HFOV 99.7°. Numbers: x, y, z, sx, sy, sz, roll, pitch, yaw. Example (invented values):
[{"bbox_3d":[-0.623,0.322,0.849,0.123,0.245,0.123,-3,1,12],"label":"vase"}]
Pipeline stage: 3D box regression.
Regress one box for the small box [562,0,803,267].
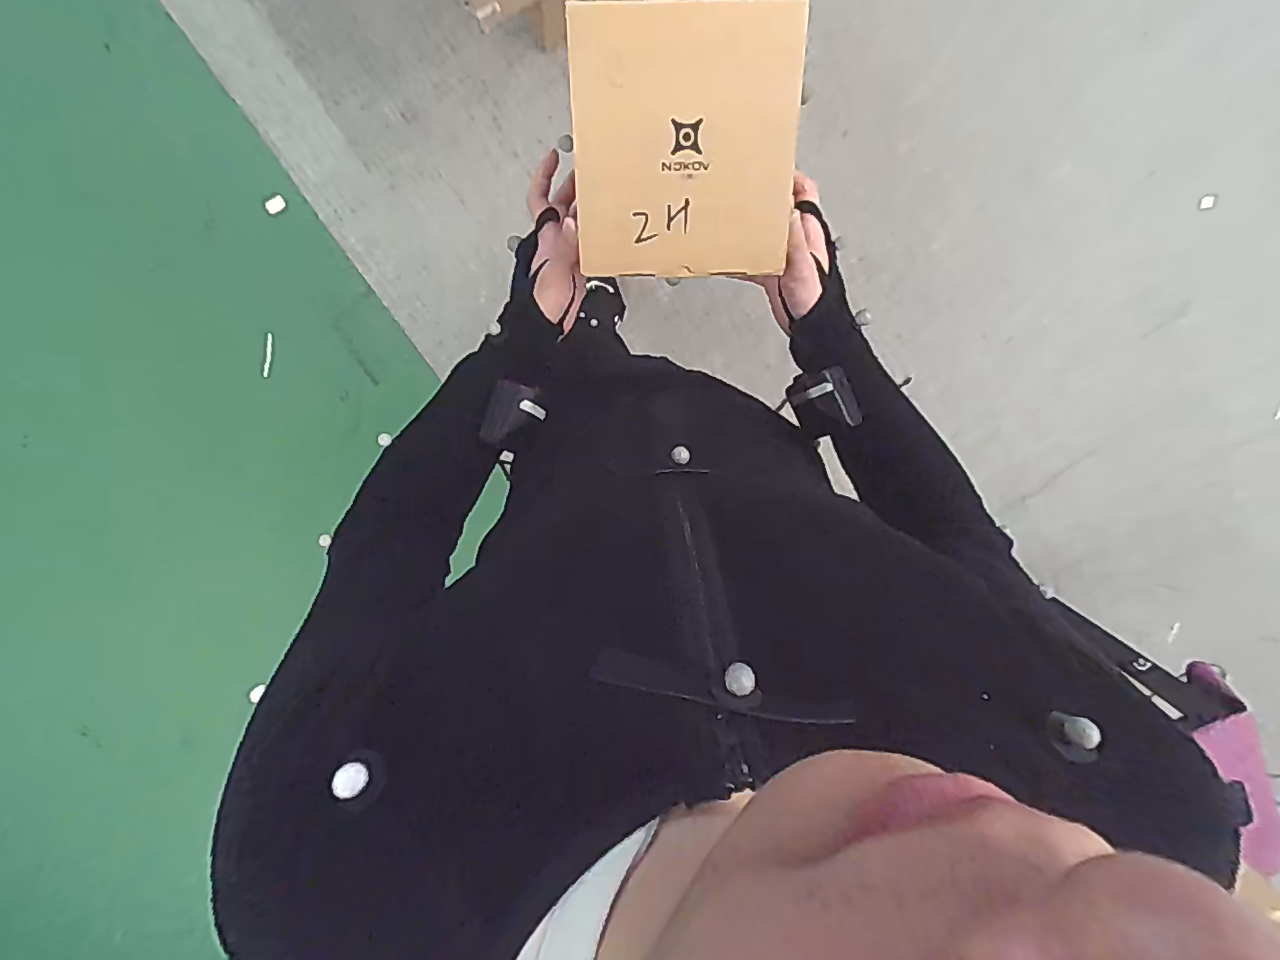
[{"bbox_3d":[0.029,-0.281,0.465,0.168,0.176,0.179,0,115,1],"label":"small box"}]
